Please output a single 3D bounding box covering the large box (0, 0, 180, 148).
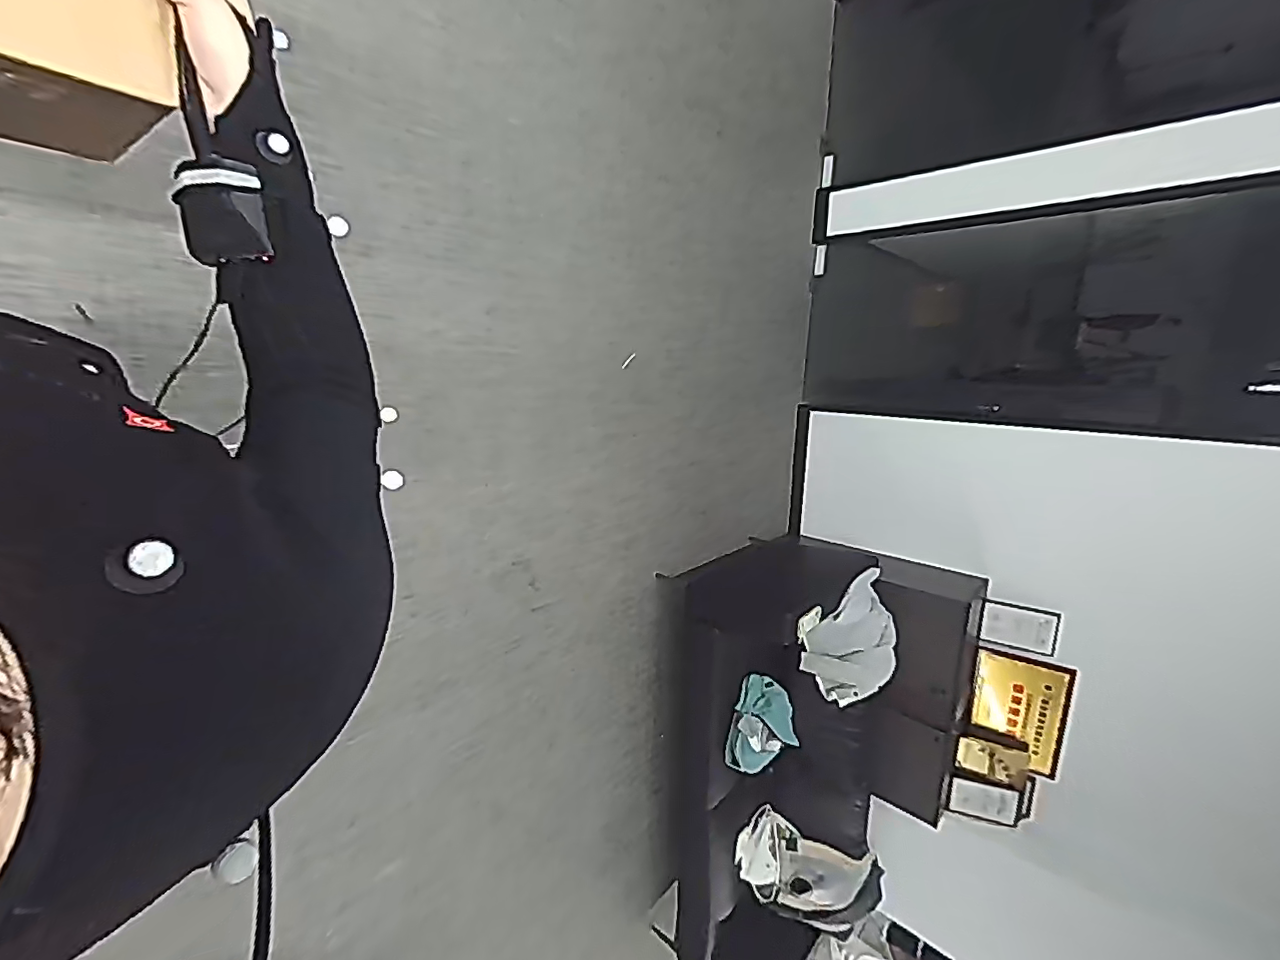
[{"bbox_3d":[-0.555,-0.428,0.288,0.408,0.320,0.320,-11,113,-50],"label":"large box"}]
